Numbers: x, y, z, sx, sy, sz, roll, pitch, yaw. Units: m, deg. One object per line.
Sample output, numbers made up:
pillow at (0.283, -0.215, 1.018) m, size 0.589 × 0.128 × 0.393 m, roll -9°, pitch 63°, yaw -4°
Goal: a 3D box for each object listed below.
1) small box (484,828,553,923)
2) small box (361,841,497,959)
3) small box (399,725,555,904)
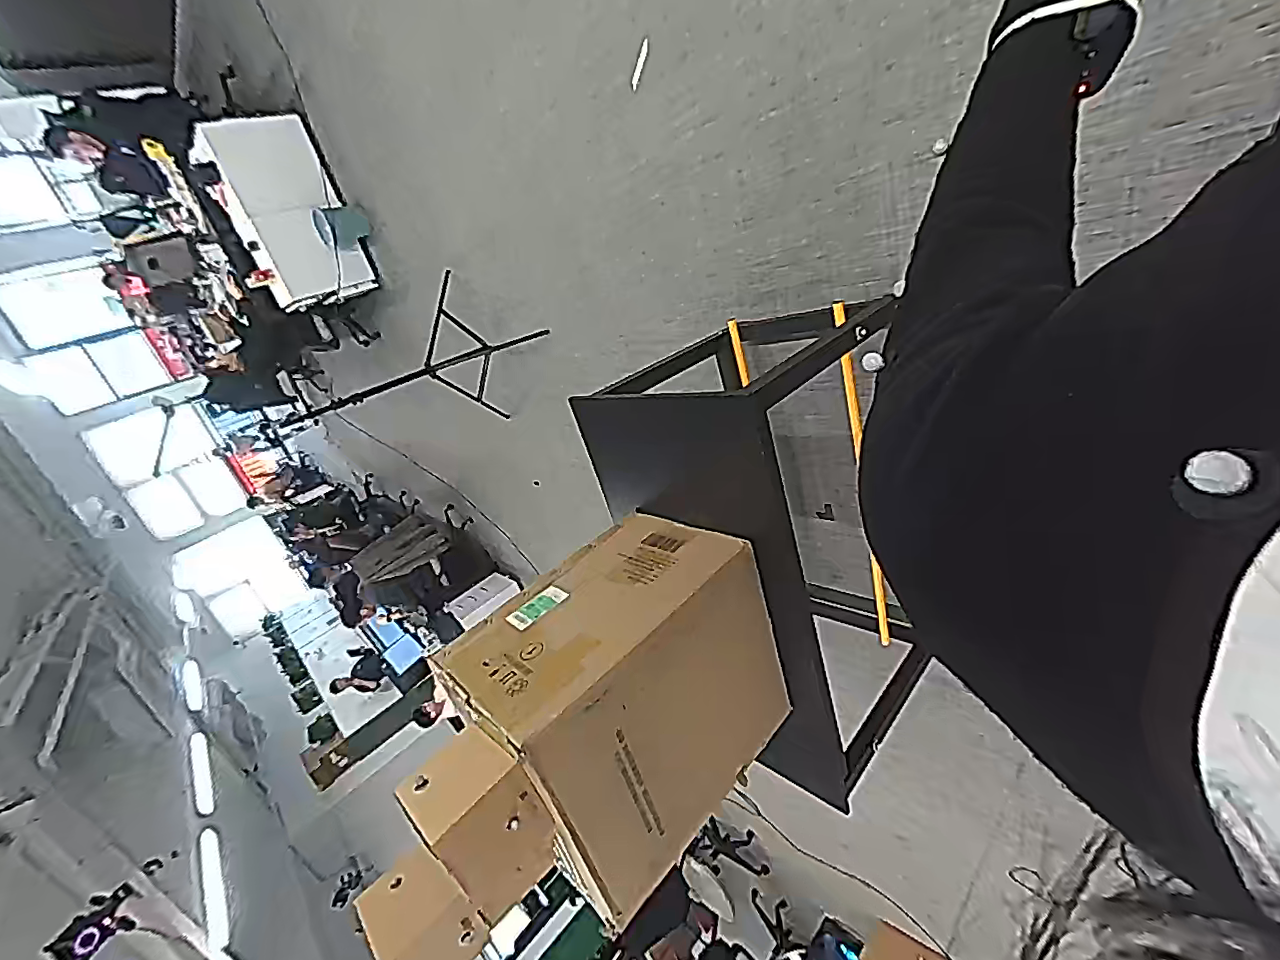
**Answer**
small box at (-0.308, 0.785, 1.174) m, size 0.179 × 0.176 × 0.168 m, roll 9°, pitch 124°, yaw 48°
small box at (-0.414, 0.860, 1.073) m, size 0.179 × 0.176 × 0.168 m, roll 12°, pitch 127°, yaw 47°
small box at (-0.279, 0.563, 0.941) m, size 0.179 × 0.176 × 0.168 m, roll 5°, pitch 124°, yaw 48°
